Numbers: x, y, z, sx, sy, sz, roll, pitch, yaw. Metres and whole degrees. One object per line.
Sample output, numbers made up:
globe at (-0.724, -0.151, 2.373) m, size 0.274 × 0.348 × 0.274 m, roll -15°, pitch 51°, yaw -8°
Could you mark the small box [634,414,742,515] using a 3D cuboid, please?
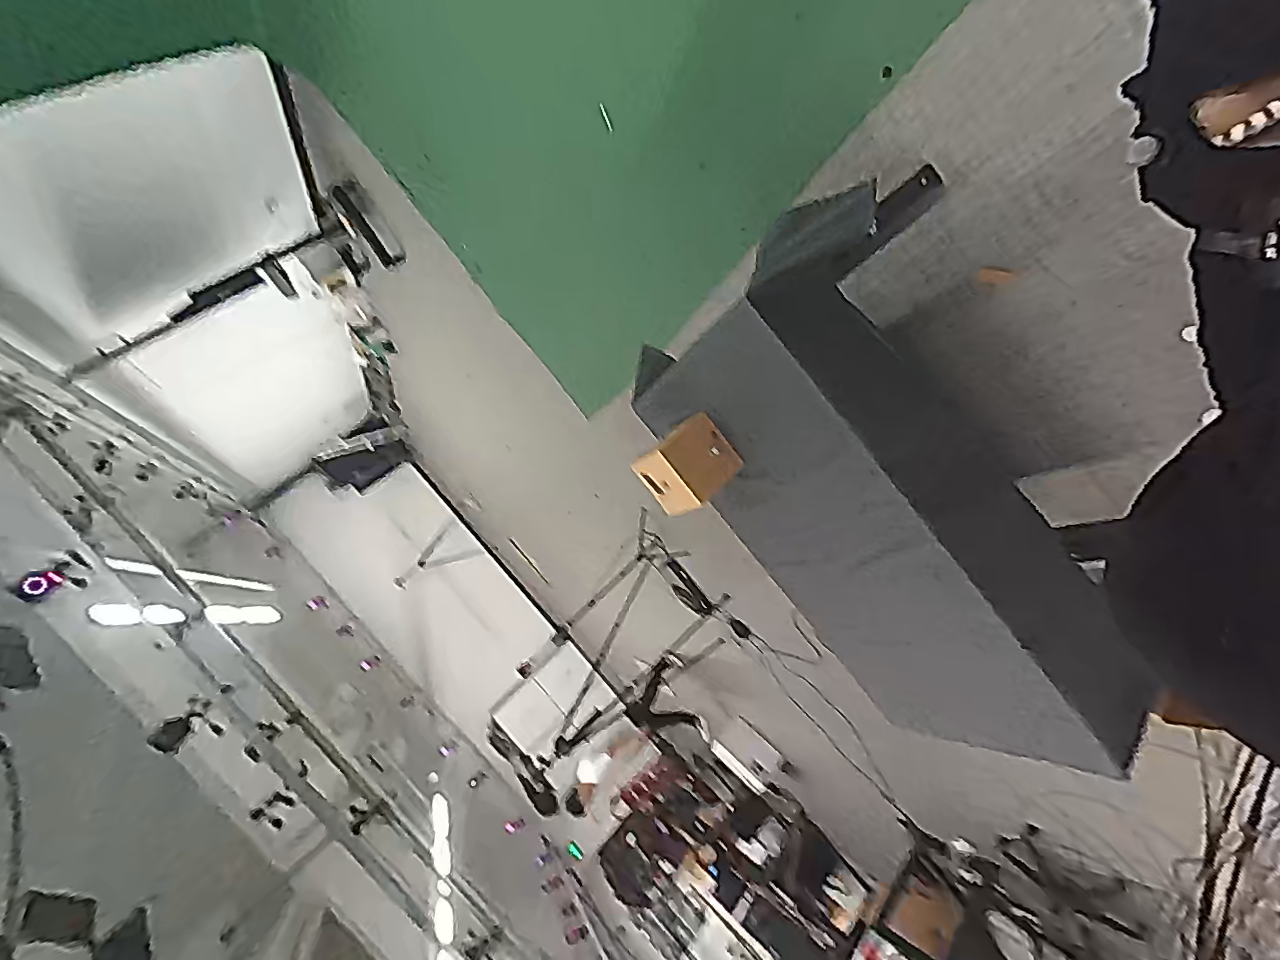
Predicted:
small box at (0.120, -0.036, 1.341) m, size 0.168 × 0.176 × 0.179 m, roll 51°, pitch 155°, yaw -6°
